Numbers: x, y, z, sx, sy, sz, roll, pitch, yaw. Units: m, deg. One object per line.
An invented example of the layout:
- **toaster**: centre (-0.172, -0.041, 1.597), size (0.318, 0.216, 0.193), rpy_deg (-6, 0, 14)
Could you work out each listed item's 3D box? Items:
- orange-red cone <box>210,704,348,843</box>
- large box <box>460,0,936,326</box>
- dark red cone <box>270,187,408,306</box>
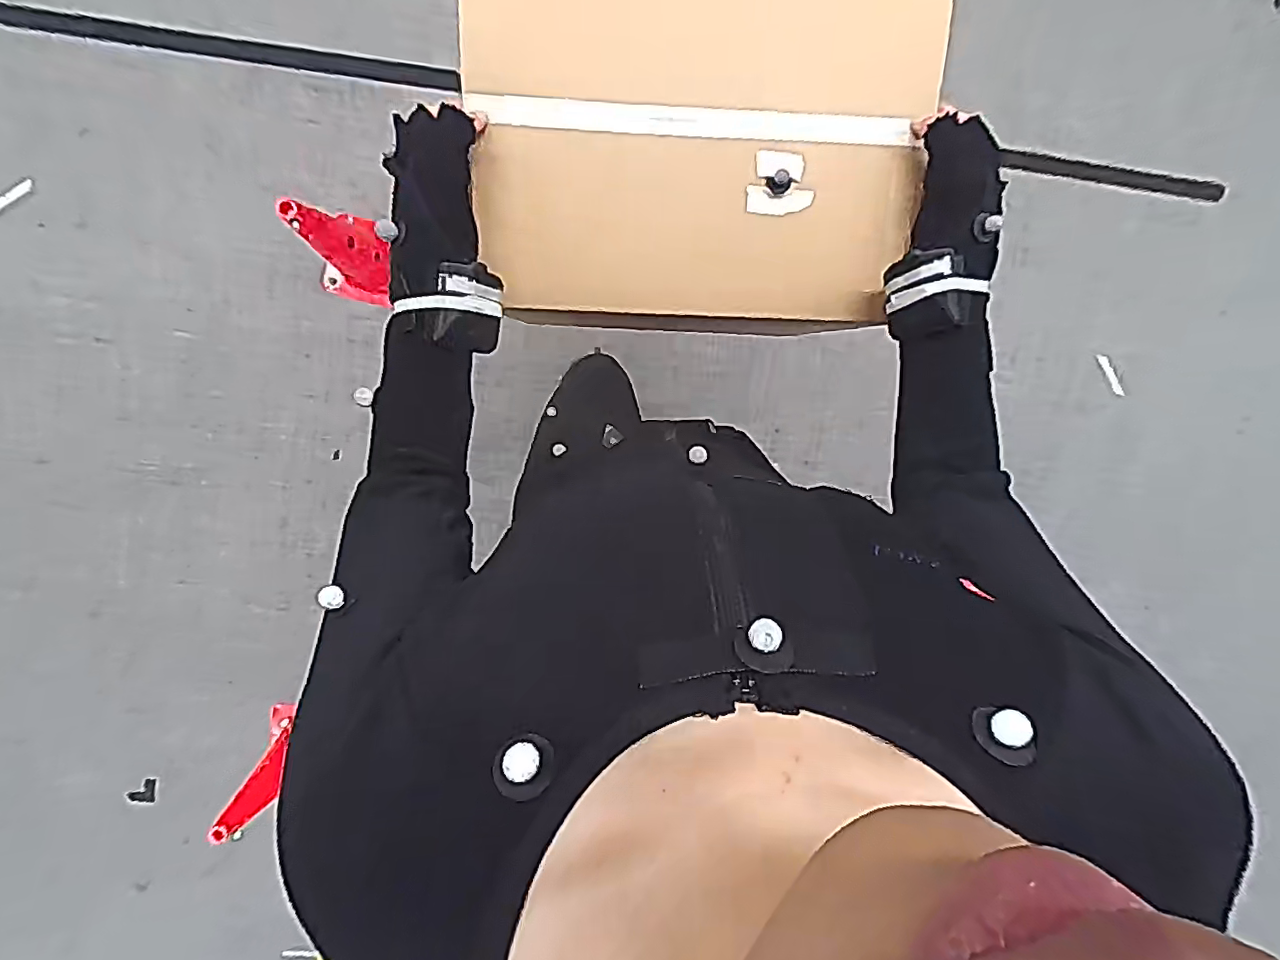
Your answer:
- **orange-red cone**: centre (-0.903, 0.740, 1.327), size (0.198, 0.360, 0.199), rpy_deg (4, 97, -2)
- **large box**: centre (0.040, -0.346, 0.610), size (0.408, 0.320, 0.320), rpy_deg (1, 103, -4)
- **dark red cone**: centre (-0.675, -0.532, 1.179), size (0.201, 0.394, 0.202), rpy_deg (12, 95, -5)
